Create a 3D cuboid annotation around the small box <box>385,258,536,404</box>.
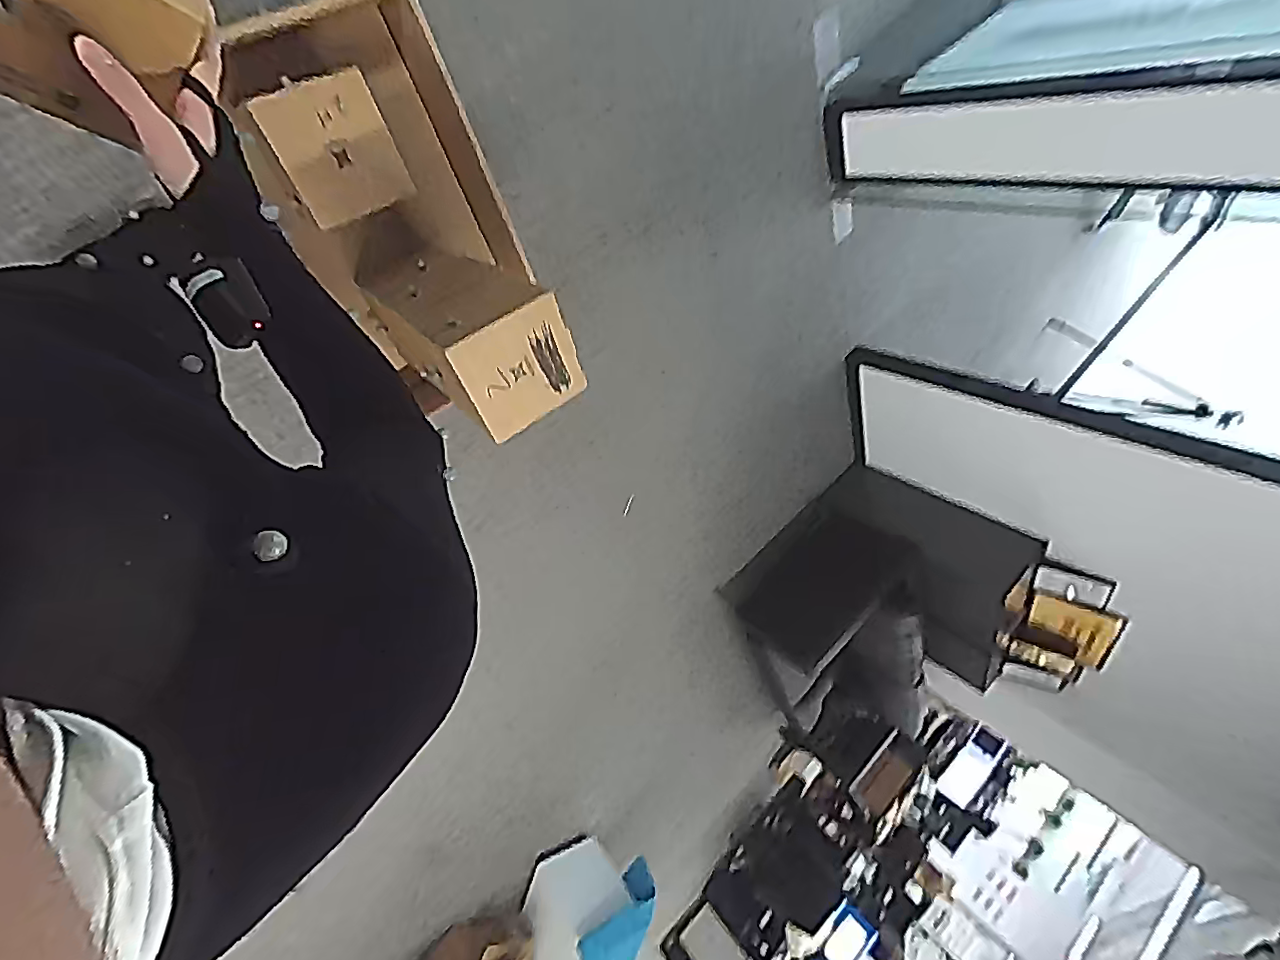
[{"bbox_3d":[-0.318,-0.265,0.942,0.179,0.176,0.168,-37,135,-19],"label":"small box"}]
